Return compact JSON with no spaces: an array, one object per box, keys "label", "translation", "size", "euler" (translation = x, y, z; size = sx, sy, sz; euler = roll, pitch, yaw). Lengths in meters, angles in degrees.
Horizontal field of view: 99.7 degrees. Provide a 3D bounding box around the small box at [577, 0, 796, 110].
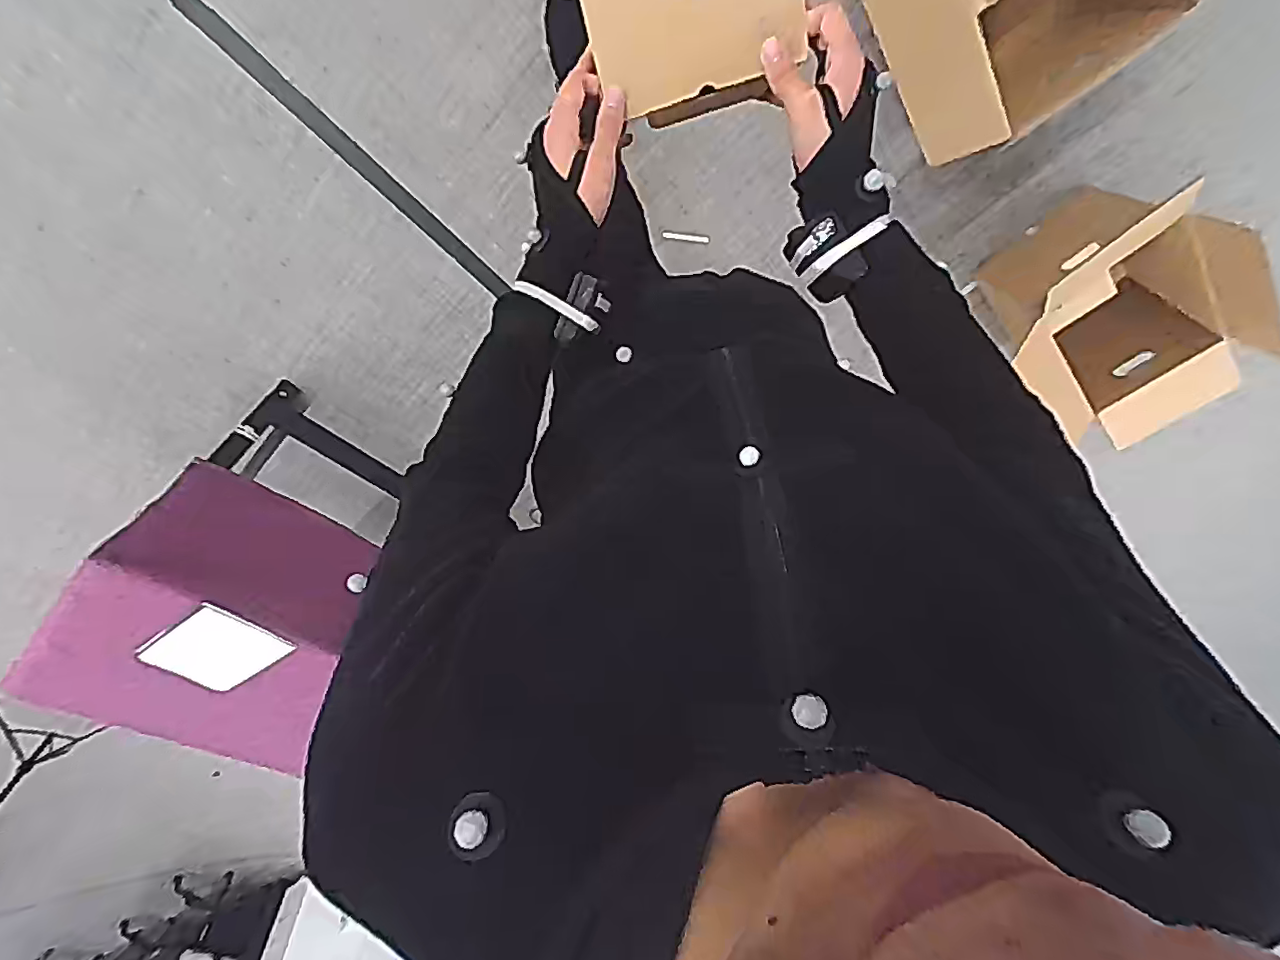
[{"label":"small box","translation":[0.026,-0.444,0.455],"size":[0.168,0.176,0.179],"euler":[-12,128,8]}]
